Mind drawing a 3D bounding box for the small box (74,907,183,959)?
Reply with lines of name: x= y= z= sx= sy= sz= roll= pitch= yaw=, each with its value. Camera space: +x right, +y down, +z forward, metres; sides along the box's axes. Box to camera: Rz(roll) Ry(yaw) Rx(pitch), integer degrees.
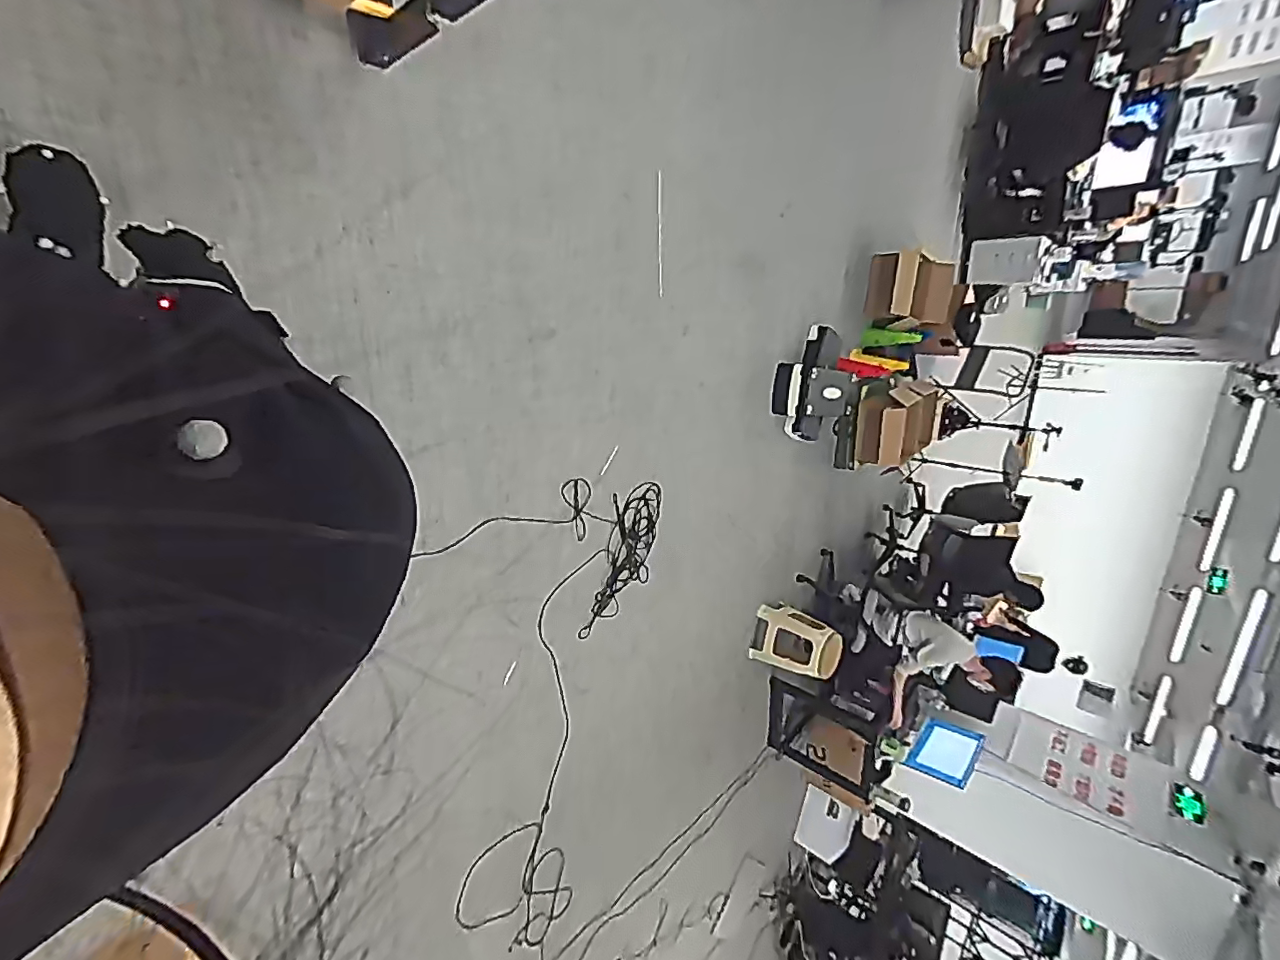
small box: x=-1.161 y=1.147 z=1.238 sx=0.168 sy=0.176 sz=0.179 roll=-16 pitch=112 yaw=-45
